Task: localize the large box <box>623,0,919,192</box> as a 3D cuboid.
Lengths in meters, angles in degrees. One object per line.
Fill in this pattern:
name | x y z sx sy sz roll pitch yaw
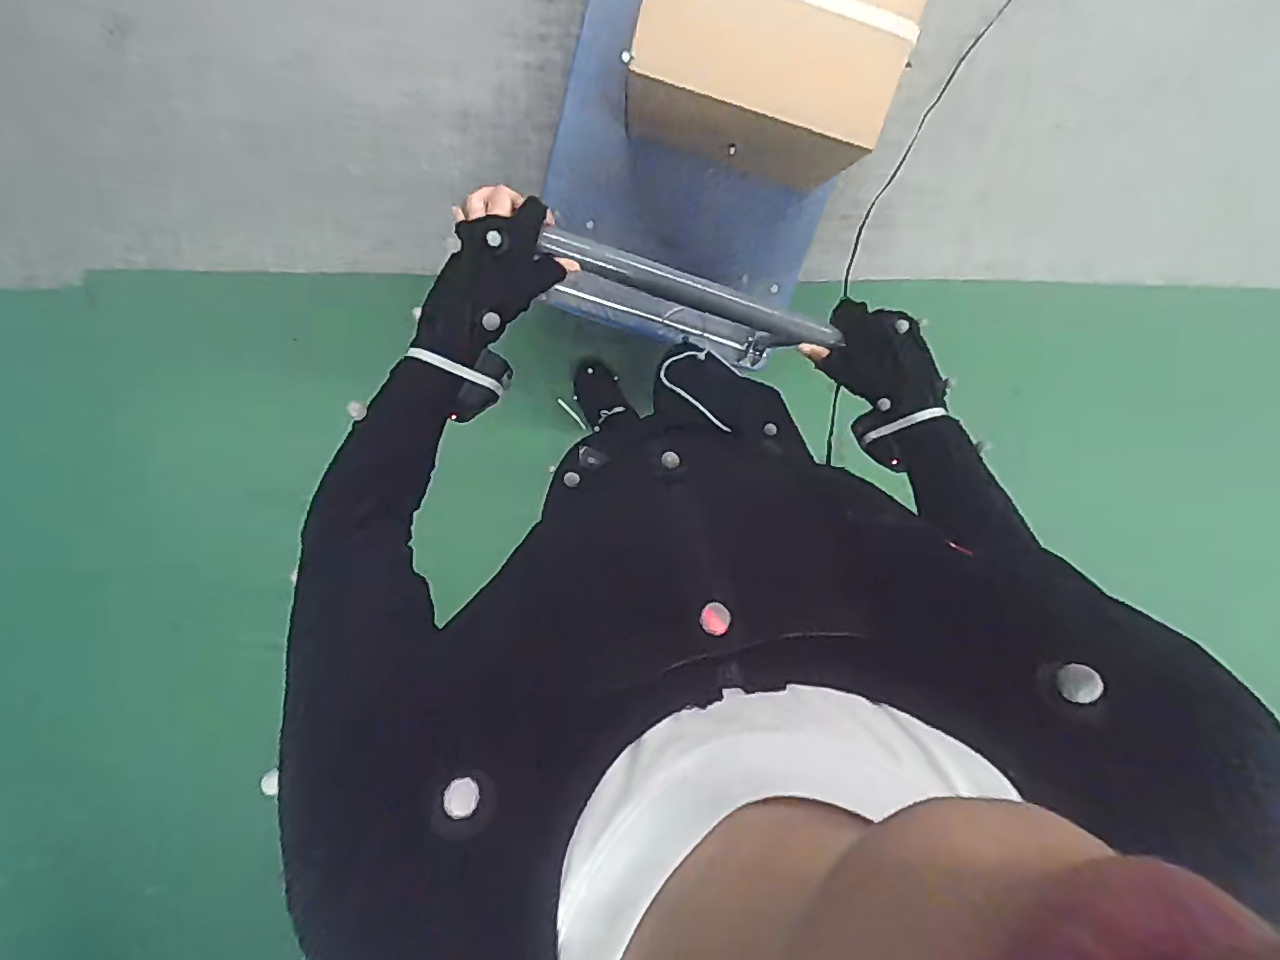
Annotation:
large box | 0.205 -0.743 0.933 0.408 0.320 0.320 15 105 -5
